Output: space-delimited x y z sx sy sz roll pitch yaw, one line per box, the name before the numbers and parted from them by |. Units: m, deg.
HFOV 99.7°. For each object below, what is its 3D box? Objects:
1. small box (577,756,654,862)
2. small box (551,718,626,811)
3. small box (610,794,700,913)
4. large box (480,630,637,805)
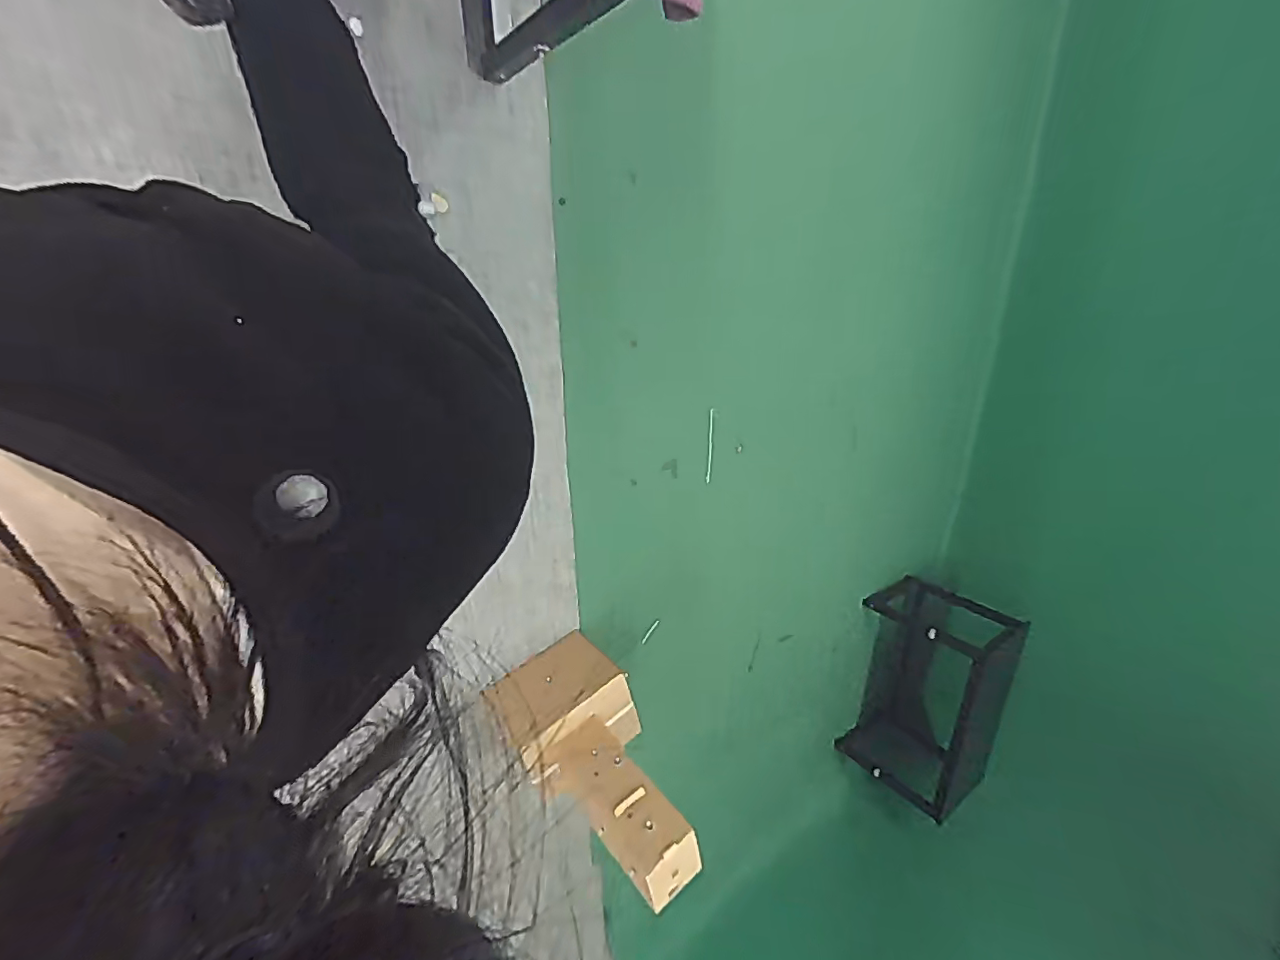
small box | -0.066 0.945 1.576 0.168 0.176 0.179 -24 119 -30
small box | -0.156 0.892 1.703 0.179 0.176 0.168 -26 119 -29
small box | 0.036 0.991 1.455 0.168 0.176 0.179 -25 118 -29
large box | -0.281 0.812 1.899 0.408 0.320 0.320 -30 124 -28
